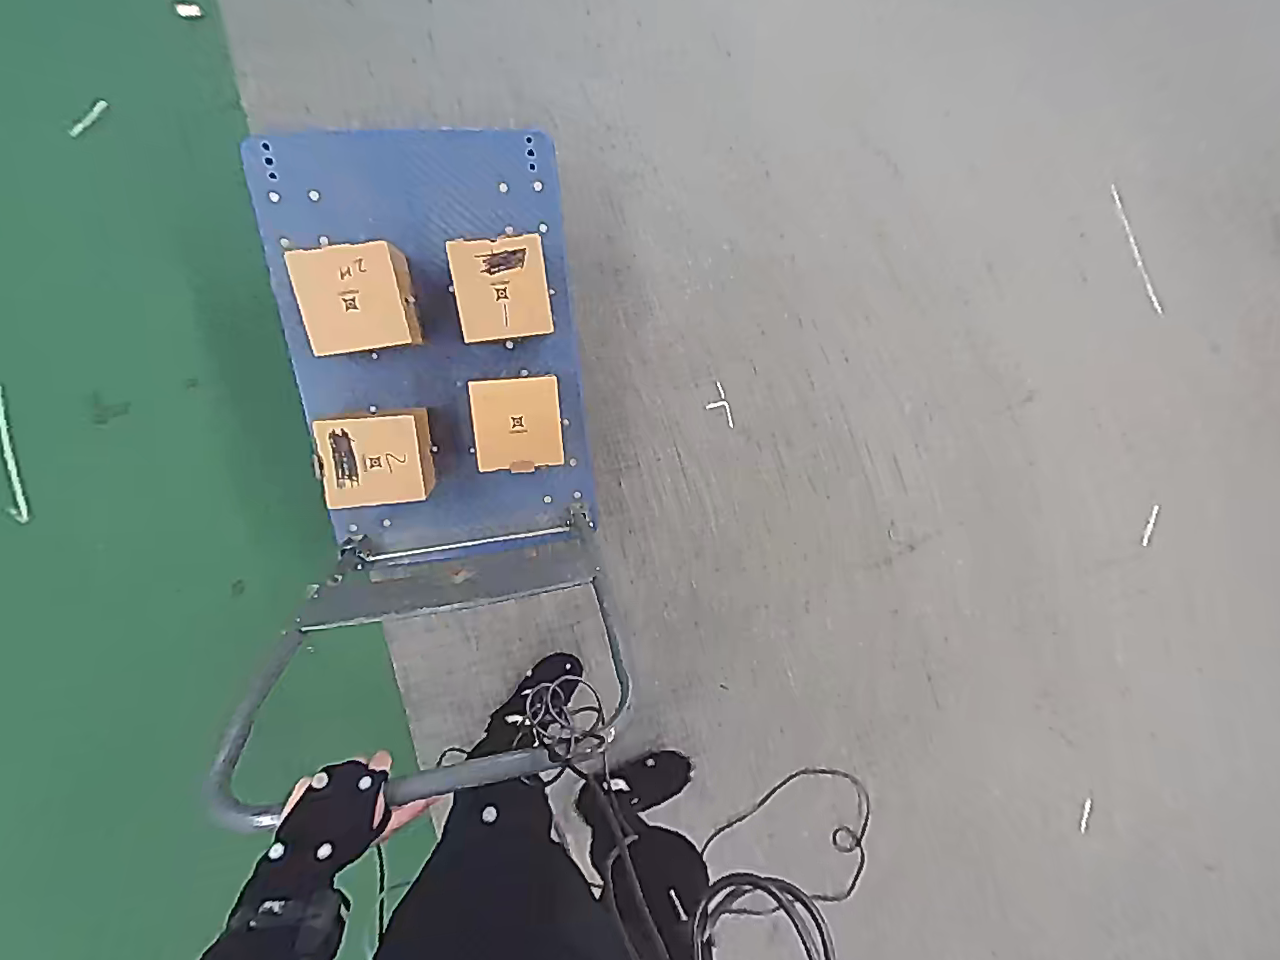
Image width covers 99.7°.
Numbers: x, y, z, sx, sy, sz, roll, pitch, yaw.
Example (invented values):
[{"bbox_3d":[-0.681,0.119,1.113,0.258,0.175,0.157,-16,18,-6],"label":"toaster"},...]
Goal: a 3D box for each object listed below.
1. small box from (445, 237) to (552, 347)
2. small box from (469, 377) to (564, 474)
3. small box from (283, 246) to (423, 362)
[{"bbox_3d":[-0.270,-0.358,1.053,0.168,0.176,0.179,-10,105,-9],"label":"small box"},{"bbox_3d":[-0.252,-0.120,1.112,0.168,0.176,0.179,-7,104,-10],"label":"small box"},{"bbox_3d":[-0.520,-0.321,1.008,0.168,0.176,0.179,-12,104,-10],"label":"small box"}]
